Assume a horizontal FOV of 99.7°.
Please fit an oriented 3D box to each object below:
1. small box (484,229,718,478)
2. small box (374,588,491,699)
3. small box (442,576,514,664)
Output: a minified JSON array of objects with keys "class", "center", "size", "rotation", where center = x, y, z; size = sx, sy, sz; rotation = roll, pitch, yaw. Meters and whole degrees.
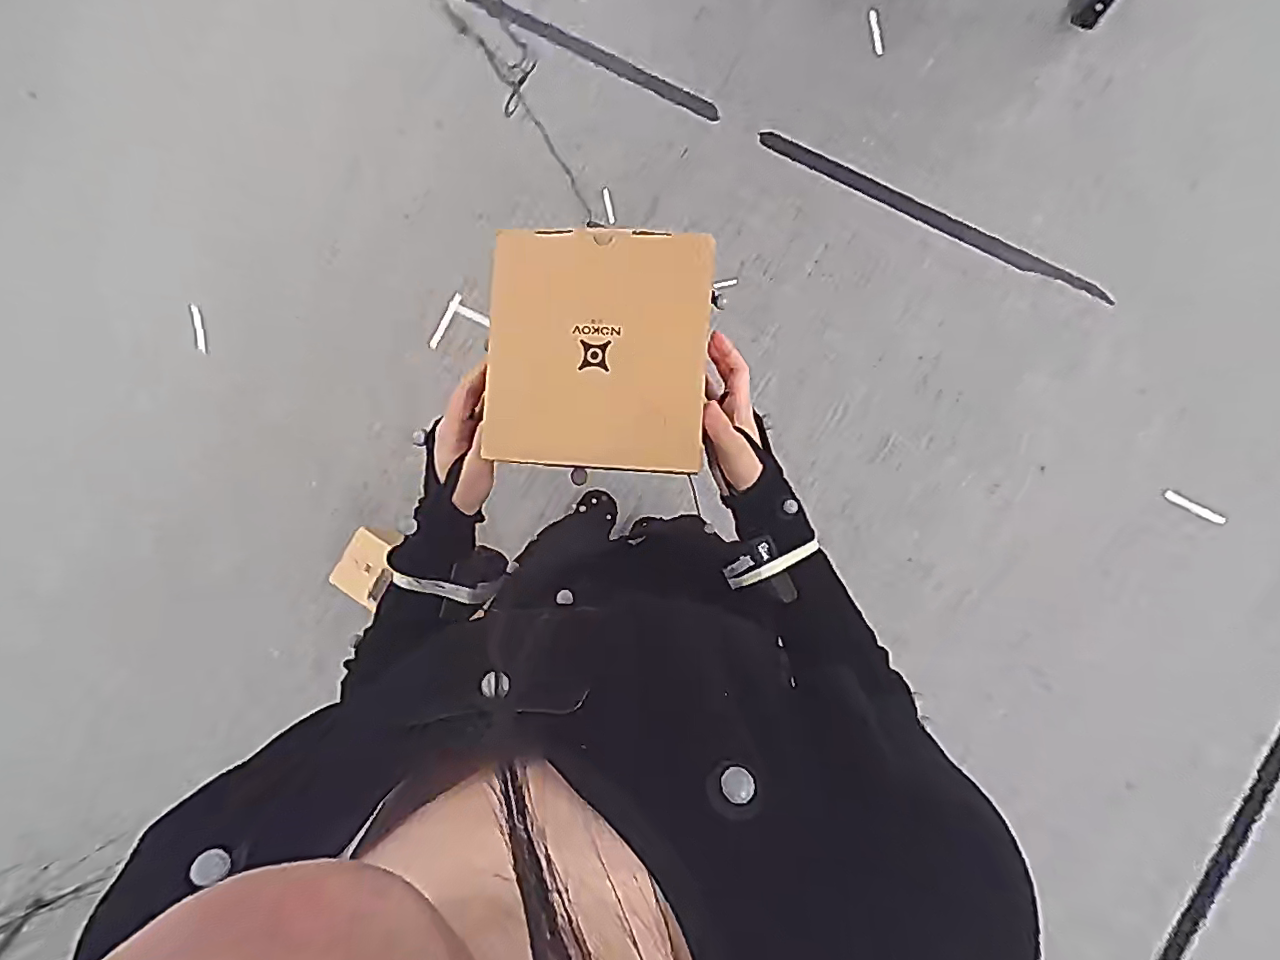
[{"class":"small box","center":[-0.022,-0.094,0.475],"size":[0.168,0.176,0.179],"rotation":[4,88,6]},{"class":"small box","center":[-0.476,0.373,1.275],"size":[0.168,0.176,0.179],"rotation":[28,89,6]},{"class":"small box","center":[-0.460,0.375,1.440],"size":[0.168,0.176,0.179],"rotation":[32,88,5]}]
